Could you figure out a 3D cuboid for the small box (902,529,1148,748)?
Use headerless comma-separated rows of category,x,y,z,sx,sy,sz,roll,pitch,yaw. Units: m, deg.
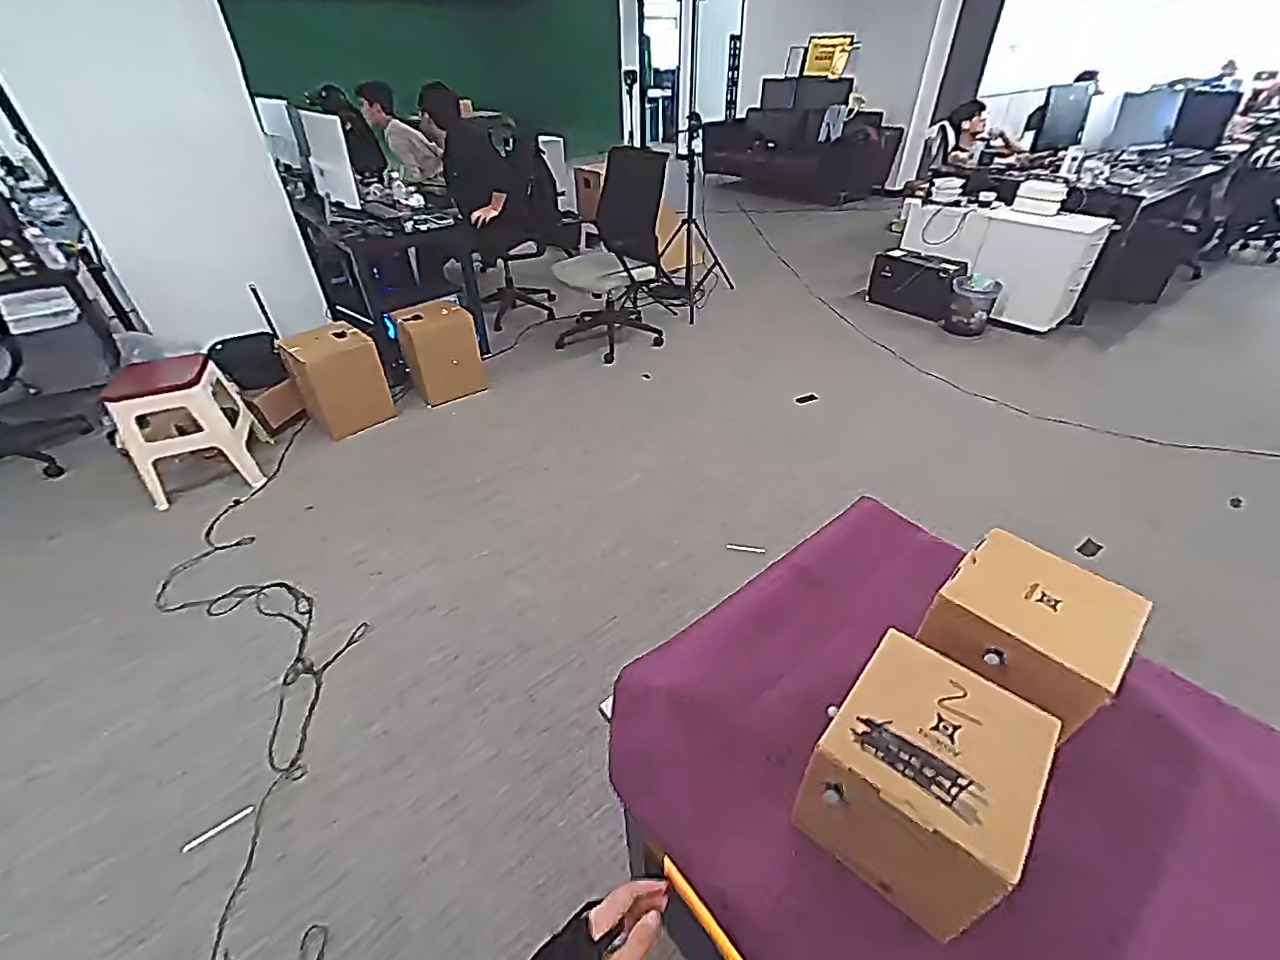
small box,0.467,0.200,0.677,0.168,0.176,0.179,-30,47,-32
